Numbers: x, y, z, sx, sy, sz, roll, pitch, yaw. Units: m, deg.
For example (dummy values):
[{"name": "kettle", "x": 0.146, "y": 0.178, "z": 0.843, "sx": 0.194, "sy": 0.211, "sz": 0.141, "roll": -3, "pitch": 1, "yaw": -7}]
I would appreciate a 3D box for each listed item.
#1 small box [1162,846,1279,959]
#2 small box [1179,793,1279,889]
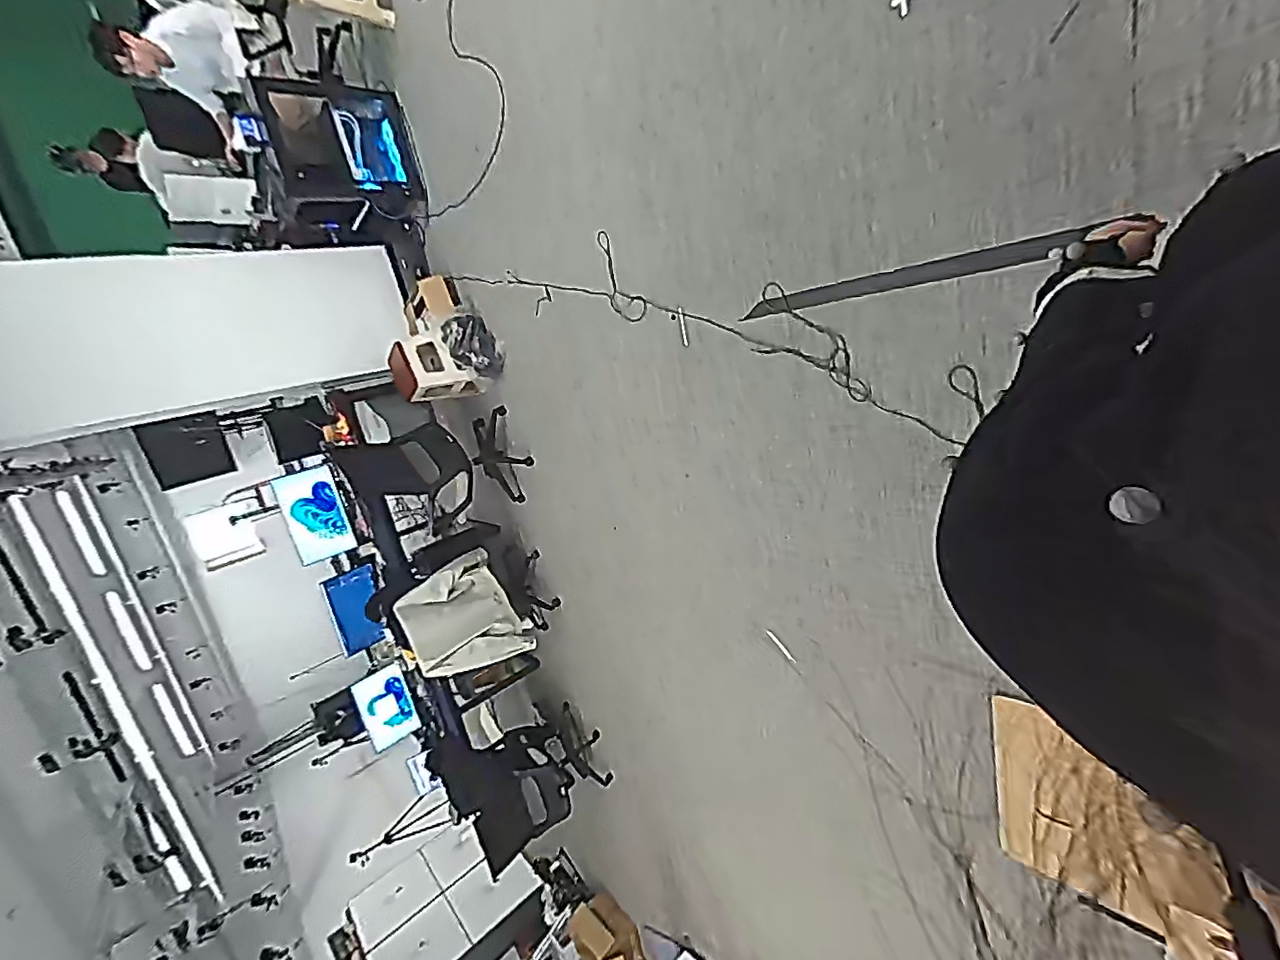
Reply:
[{"name": "small box", "x": 1.199, "y": 0.908, "z": 1.106, "sx": 0.168, "sy": 0.176, "sz": 0.179, "roll": 7, "pitch": 114, "yaw": 50}, {"name": "small box", "x": 1.320, "y": 0.844, "z": 1.199, "sx": 0.168, "sy": 0.176, "sz": 0.179, "roll": 2, "pitch": 111, "yaw": 51}]
